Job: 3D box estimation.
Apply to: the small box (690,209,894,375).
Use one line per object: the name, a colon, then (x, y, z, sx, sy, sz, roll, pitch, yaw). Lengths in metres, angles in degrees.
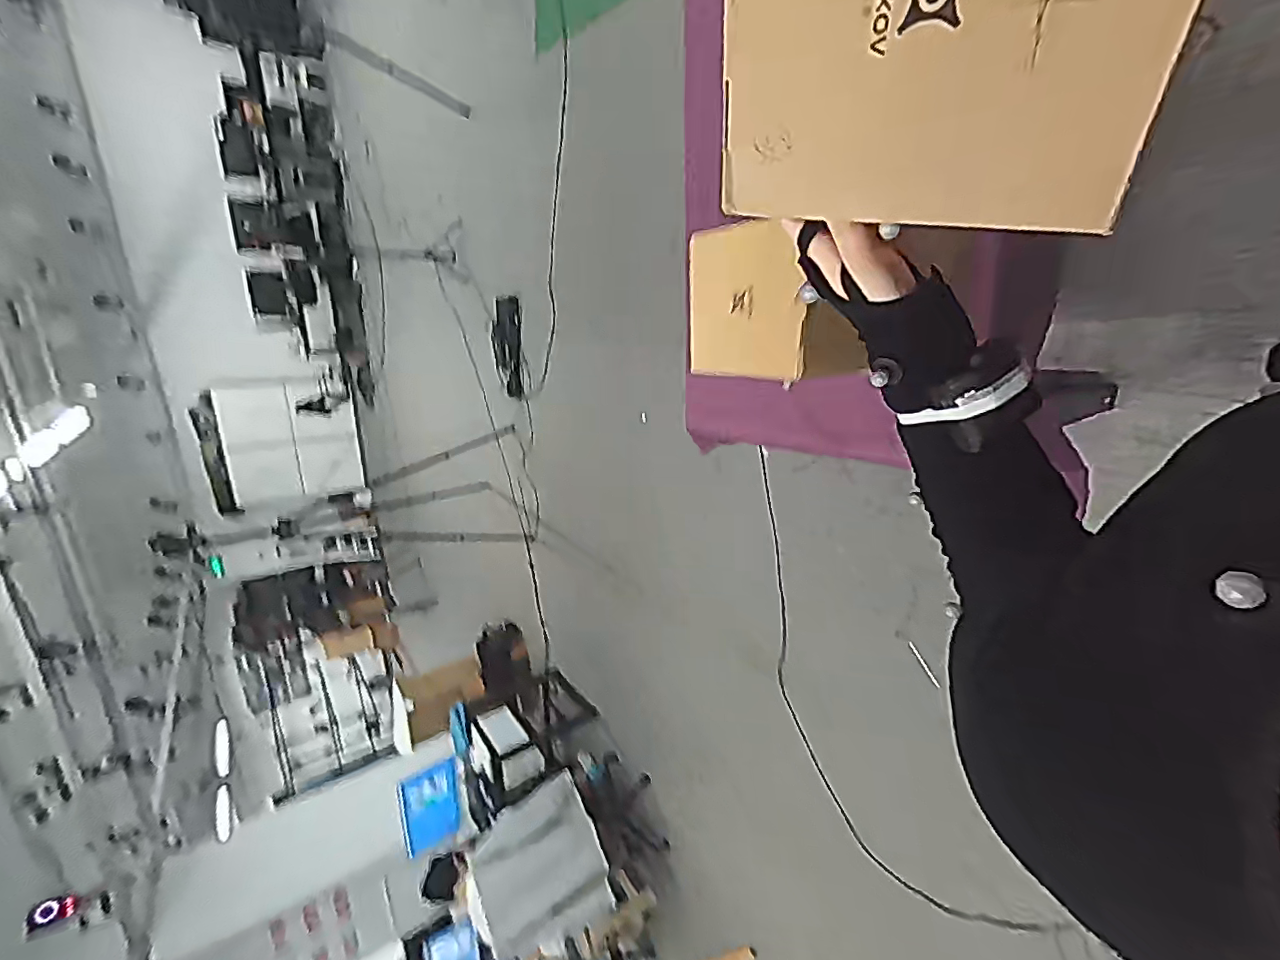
small box: (0.181, -0.221, 0.667, 0.179, 0.176, 0.168, 17, 115, 50)

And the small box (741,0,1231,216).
small box: (0.169, -0.237, 0.262, 0.179, 0.176, 0.168, 20, 132, 28)
